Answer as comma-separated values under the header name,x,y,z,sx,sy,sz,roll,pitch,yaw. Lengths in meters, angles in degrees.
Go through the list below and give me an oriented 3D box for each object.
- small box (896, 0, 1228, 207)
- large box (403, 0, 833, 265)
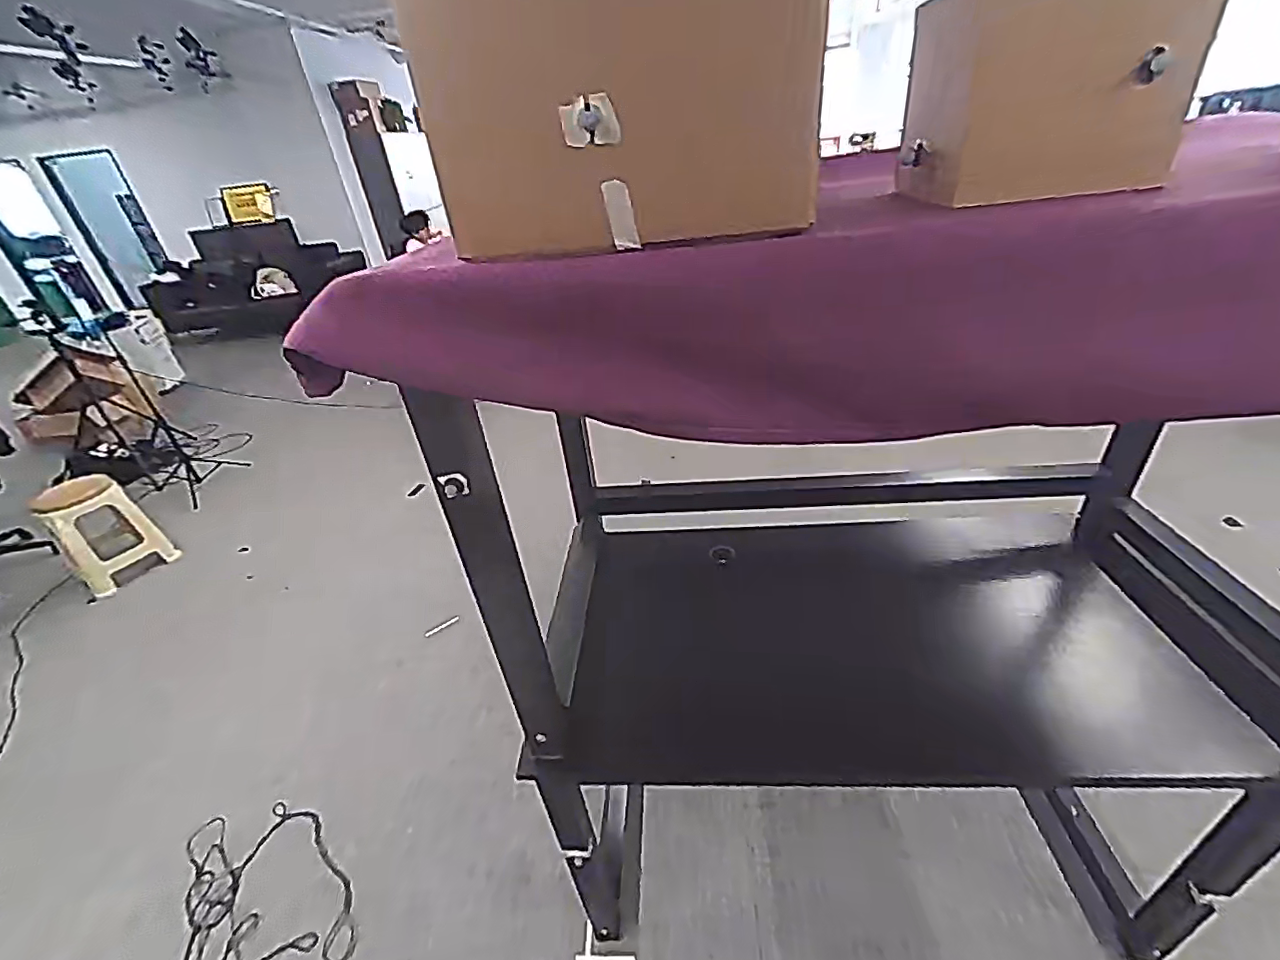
name,x,y,z,sx,sy,sz,roll,pitch,yaw
small box,0.358,-0.357,0.492,0.179,0.176,0.168,-3,31,6
large box,-0.008,-0.425,0.546,0.320,0.320,0.408,-2,31,6
